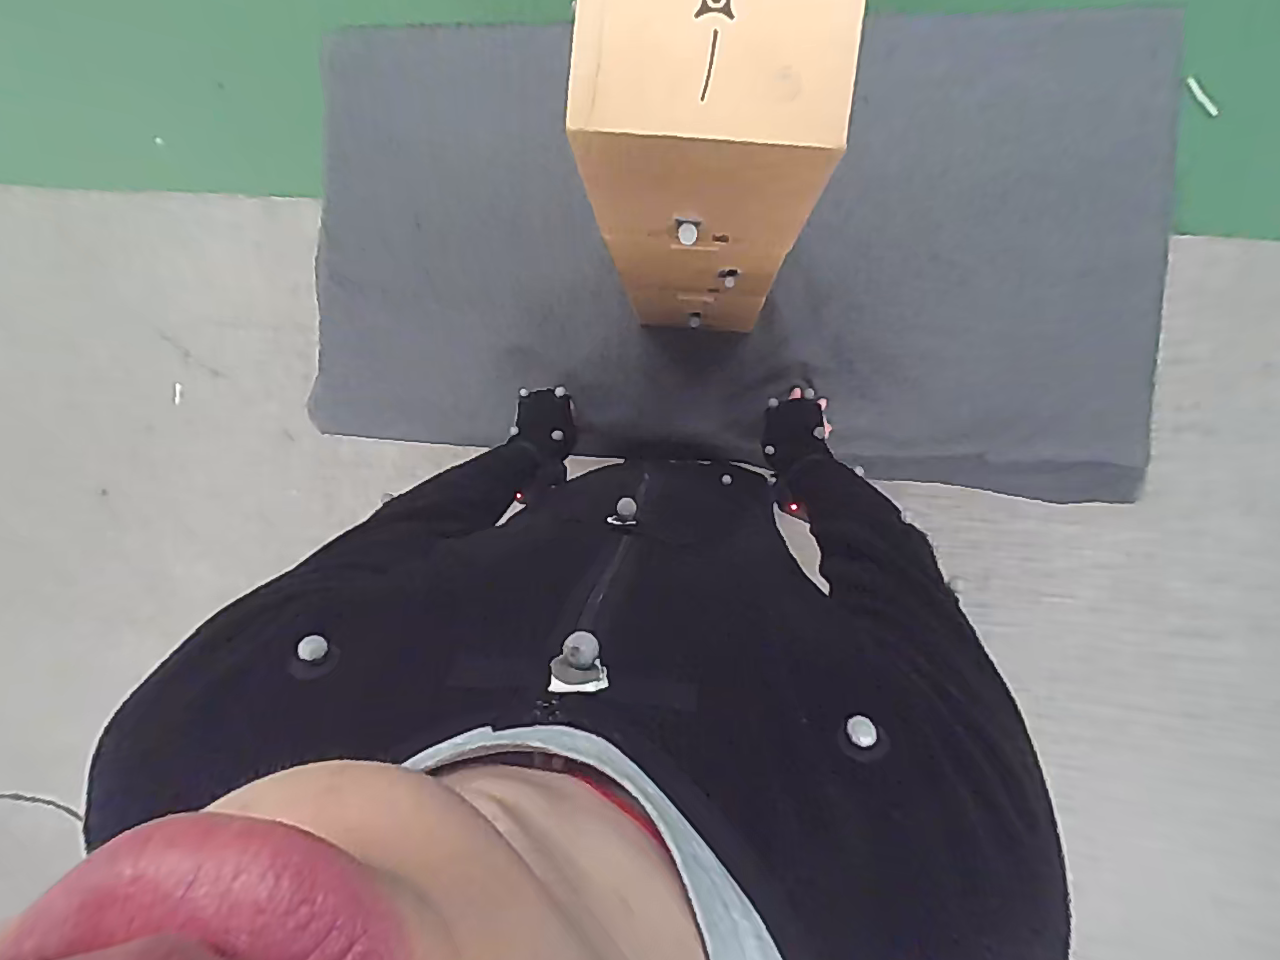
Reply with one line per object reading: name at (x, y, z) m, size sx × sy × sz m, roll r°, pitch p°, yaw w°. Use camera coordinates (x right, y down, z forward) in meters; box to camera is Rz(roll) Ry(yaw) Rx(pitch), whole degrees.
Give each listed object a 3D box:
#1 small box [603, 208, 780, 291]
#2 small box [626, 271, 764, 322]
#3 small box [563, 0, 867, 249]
small box at (0.063, -0.303, 0.545) m, size 0.168 × 0.176 × 0.179 m, roll 5°, pitch 93°, yaw 4°
small box at (0.081, -0.313, 0.706) m, size 0.168 × 0.176 × 0.179 m, roll 7°, pitch 95°, yaw 5°
small box at (0.051, -0.288, 0.382) m, size 0.168 × 0.176 × 0.179 m, roll 7°, pitch 95°, yaw 4°
